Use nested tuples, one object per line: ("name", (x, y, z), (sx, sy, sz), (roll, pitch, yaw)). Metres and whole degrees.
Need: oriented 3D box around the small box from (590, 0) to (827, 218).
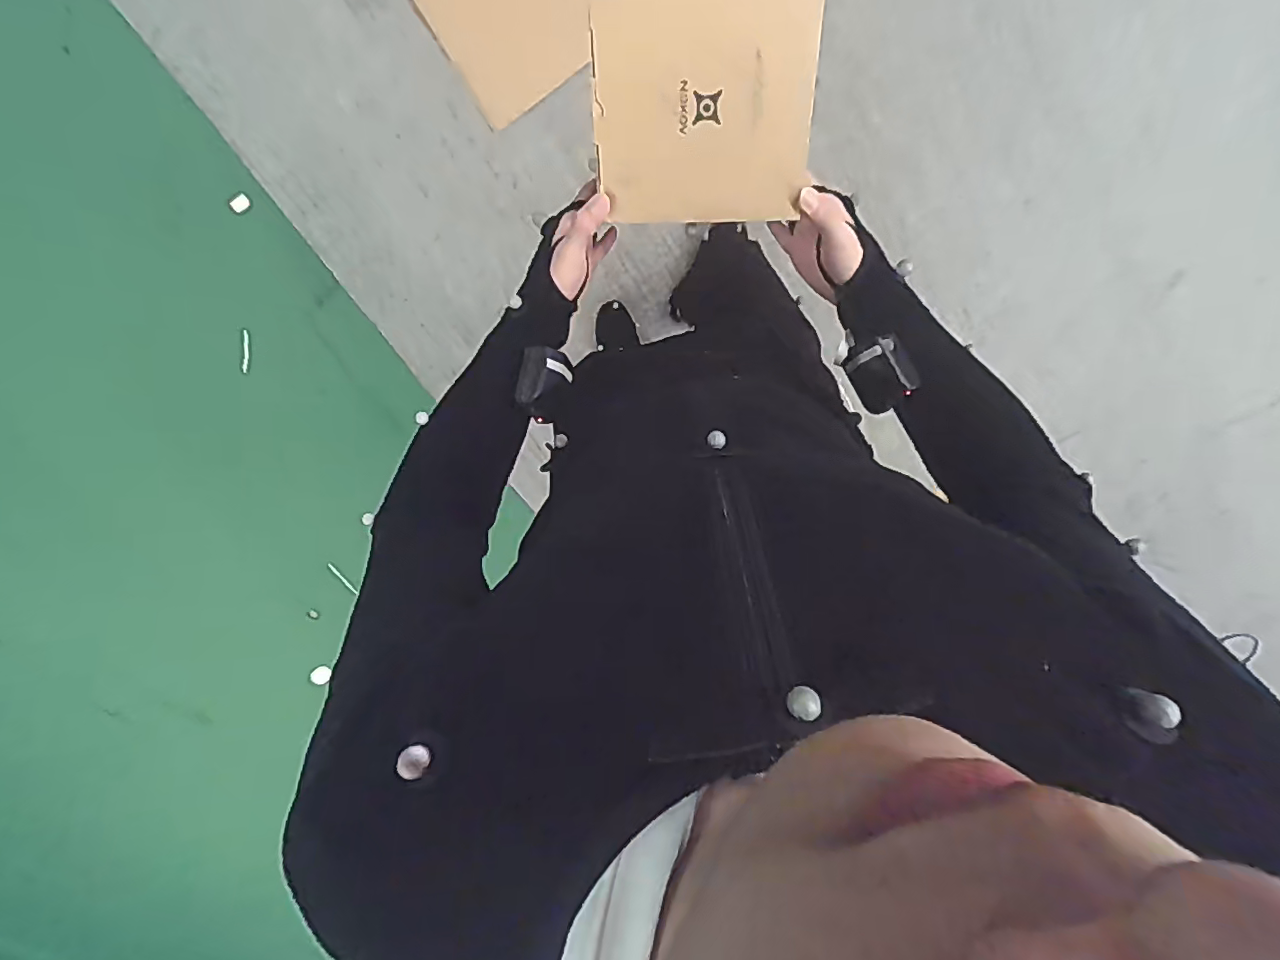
("small box", (0.054, -0.337, 0.498), (0.179, 0.176, 0.168), (0, 120, 2))
